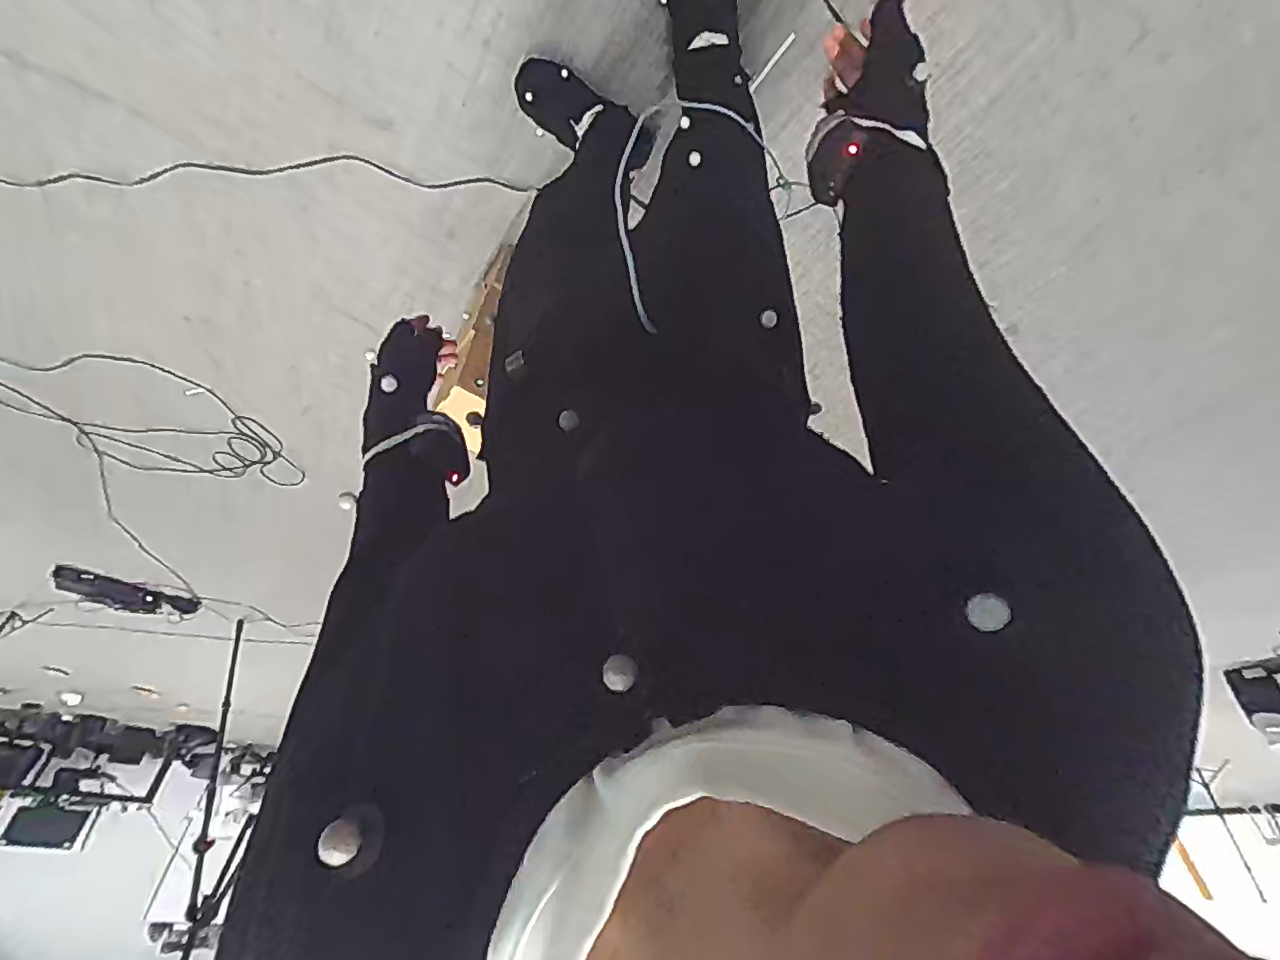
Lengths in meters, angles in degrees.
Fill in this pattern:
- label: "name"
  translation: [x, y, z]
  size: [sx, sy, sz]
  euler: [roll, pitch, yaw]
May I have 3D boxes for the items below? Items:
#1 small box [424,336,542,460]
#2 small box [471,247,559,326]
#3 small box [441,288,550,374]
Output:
- label: "small box"
  translation: [-0.332, -0.177, 1.172]
  size: [0.179, 0.176, 0.168]
  euler: [29, 137, -28]
- label: "small box"
  translation: [-0.318, -0.444, 1.361]
  size: [0.168, 0.176, 0.179]
  euler: [28, 136, -28]
- label: "small box"
  translation: [-0.331, -0.310, 1.265]
  size: [0.179, 0.176, 0.168]
  euler: [29, 136, -28]
